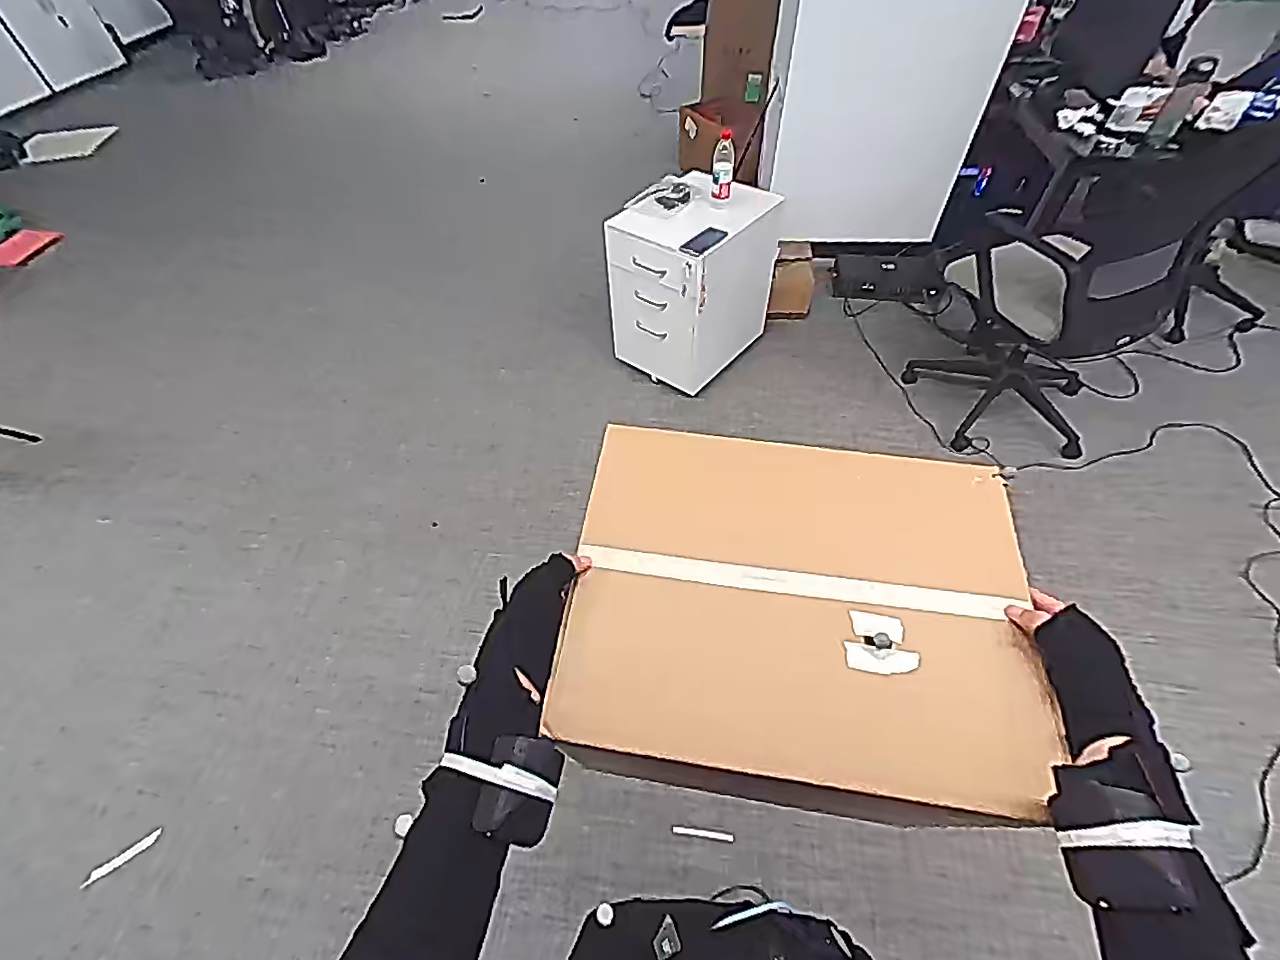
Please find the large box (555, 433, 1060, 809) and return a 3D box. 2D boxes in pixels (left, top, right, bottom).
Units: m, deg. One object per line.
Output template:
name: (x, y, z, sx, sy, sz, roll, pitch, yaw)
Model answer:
large box: (0.144, 0.174, 0.628, 0.408, 0.320, 0.320, 7, 59, 5)
